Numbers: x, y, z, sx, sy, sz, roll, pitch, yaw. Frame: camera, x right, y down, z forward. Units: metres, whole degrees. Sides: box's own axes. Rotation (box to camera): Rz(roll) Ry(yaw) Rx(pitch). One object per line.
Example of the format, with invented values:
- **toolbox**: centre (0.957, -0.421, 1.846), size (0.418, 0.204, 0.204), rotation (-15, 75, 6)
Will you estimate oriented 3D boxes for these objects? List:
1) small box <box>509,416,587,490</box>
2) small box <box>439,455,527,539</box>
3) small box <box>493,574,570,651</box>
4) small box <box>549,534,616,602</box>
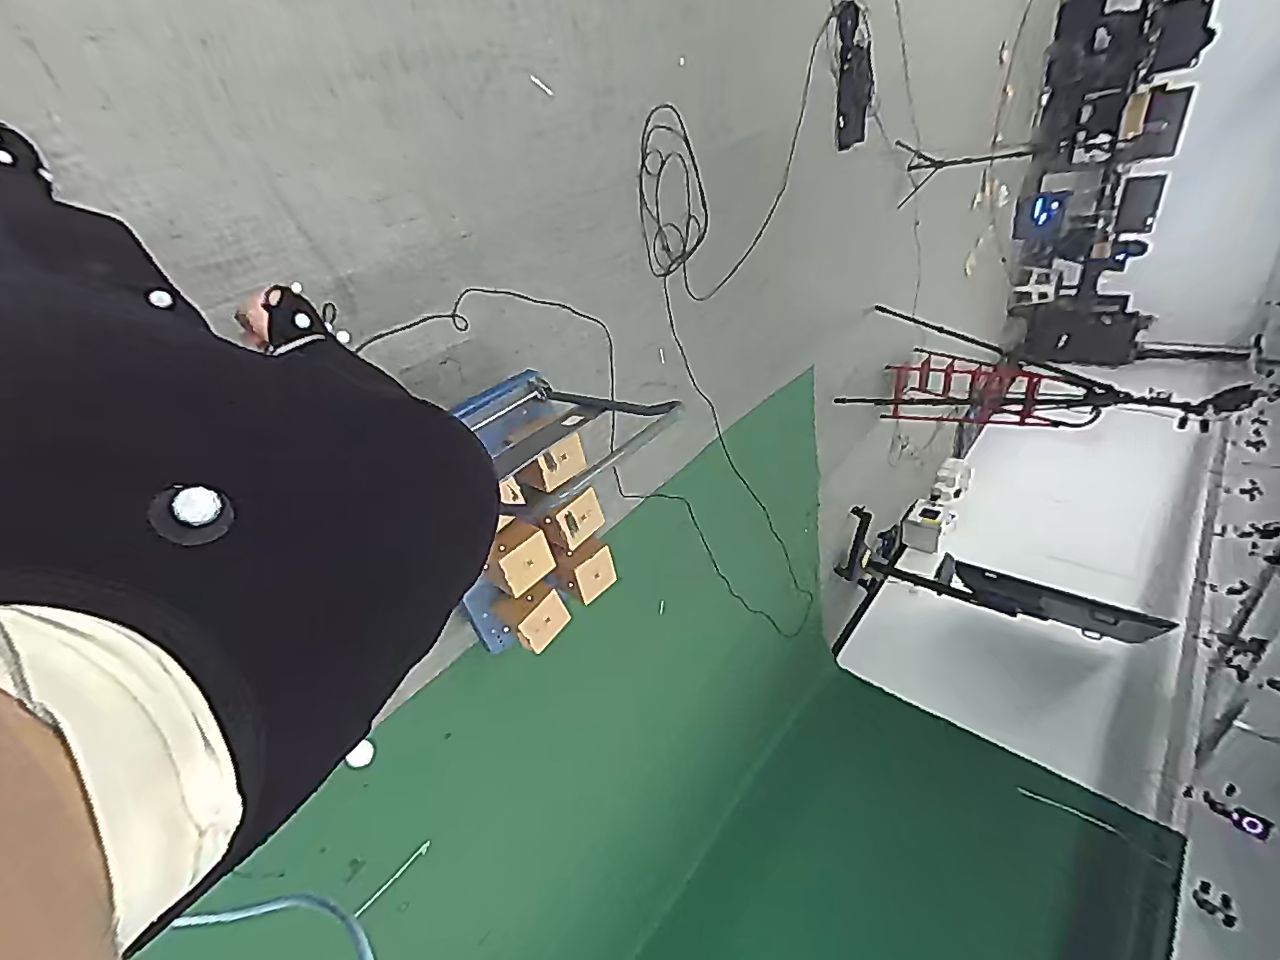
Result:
- **small box**: centre (-0.308, -0.093, 1.780), size (0.179, 0.176, 0.168), rotation (-37, 129, -35)
- **small box**: centre (-0.481, 0.046, 1.637), size (0.179, 0.176, 0.168), rotation (-40, 131, -31)
- **small box**: centre (-0.381, 0.457, 1.897), size (0.179, 0.176, 0.168), rotation (-38, 127, -32)
- **small box**: centre (-0.218, 0.323, 2.036), size (0.168, 0.176, 0.179), rotation (-35, 127, -34)
